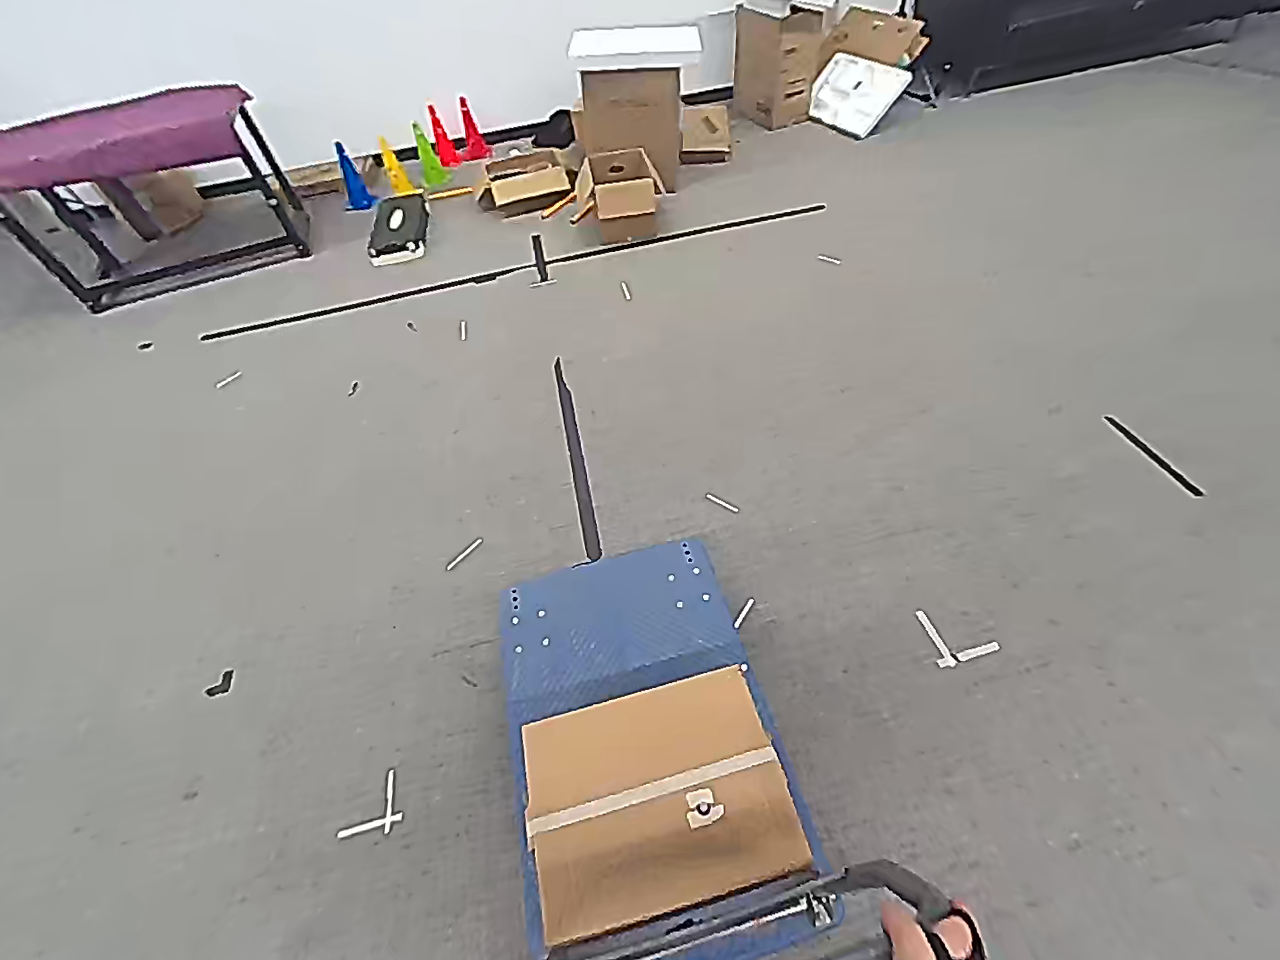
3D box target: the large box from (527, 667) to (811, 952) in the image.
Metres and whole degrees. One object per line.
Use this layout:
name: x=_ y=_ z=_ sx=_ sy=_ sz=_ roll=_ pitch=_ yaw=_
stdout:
large box: x=0.039 y=0.598 z=0.989 sx=0.408 sy=0.320 sz=0.320 roll=-14 pitch=51 yaw=-6
